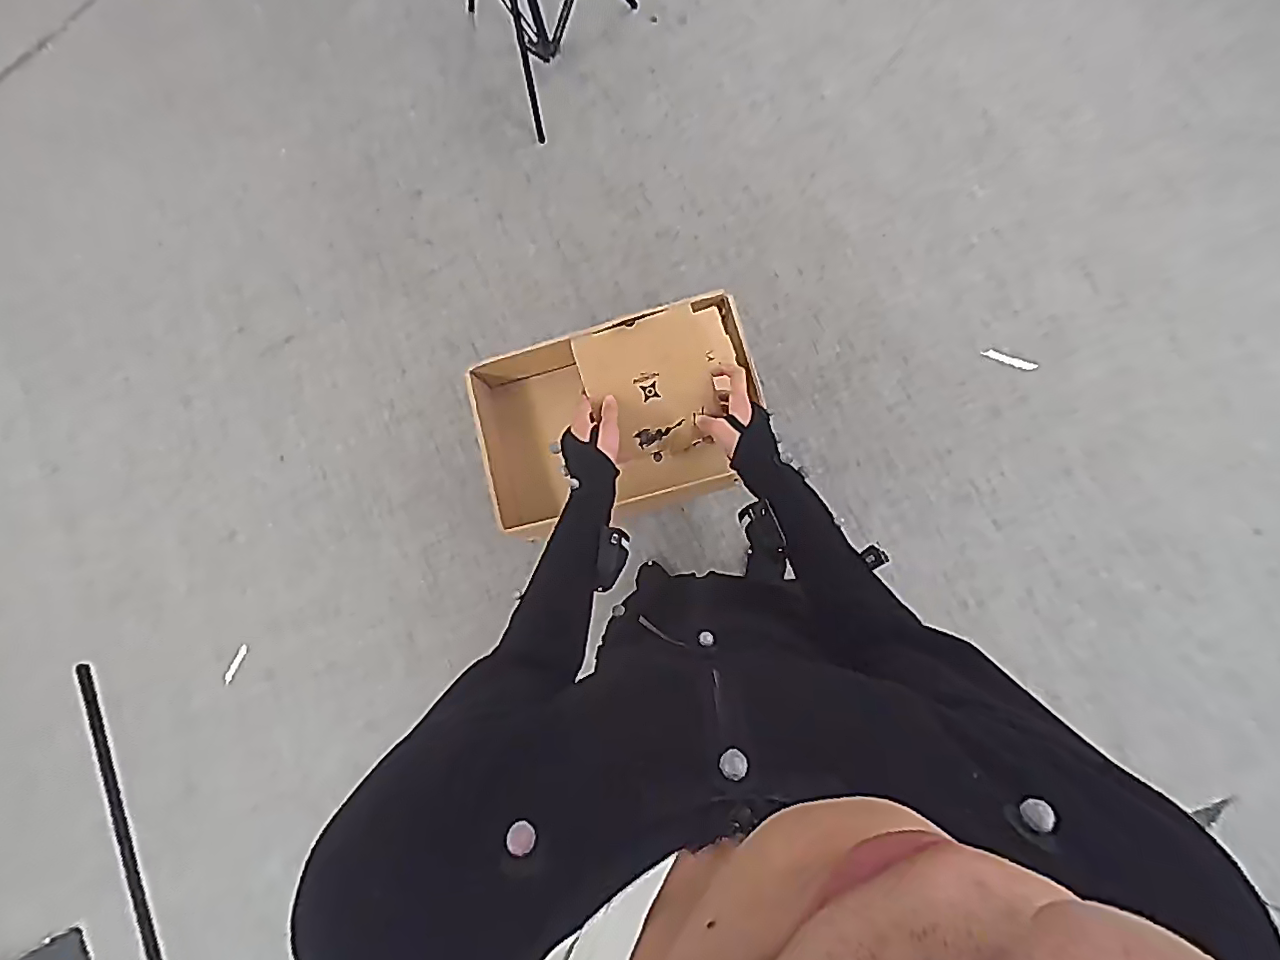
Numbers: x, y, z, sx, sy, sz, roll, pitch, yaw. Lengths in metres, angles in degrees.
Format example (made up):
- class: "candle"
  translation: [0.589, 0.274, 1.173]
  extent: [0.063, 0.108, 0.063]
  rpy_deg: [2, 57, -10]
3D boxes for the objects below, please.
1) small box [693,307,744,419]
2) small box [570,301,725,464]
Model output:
- class: "small box"
  translation: [0.088, -0.194, 1.028]
  extent: [0.179, 0.176, 0.168]
  rpy_deg: [-18, 81, 4]
- class: "small box"
  translation: [0.012, -0.131, 0.776]
  extent: [0.168, 0.176, 0.179]
  rpy_deg: [-17, 95, 5]
